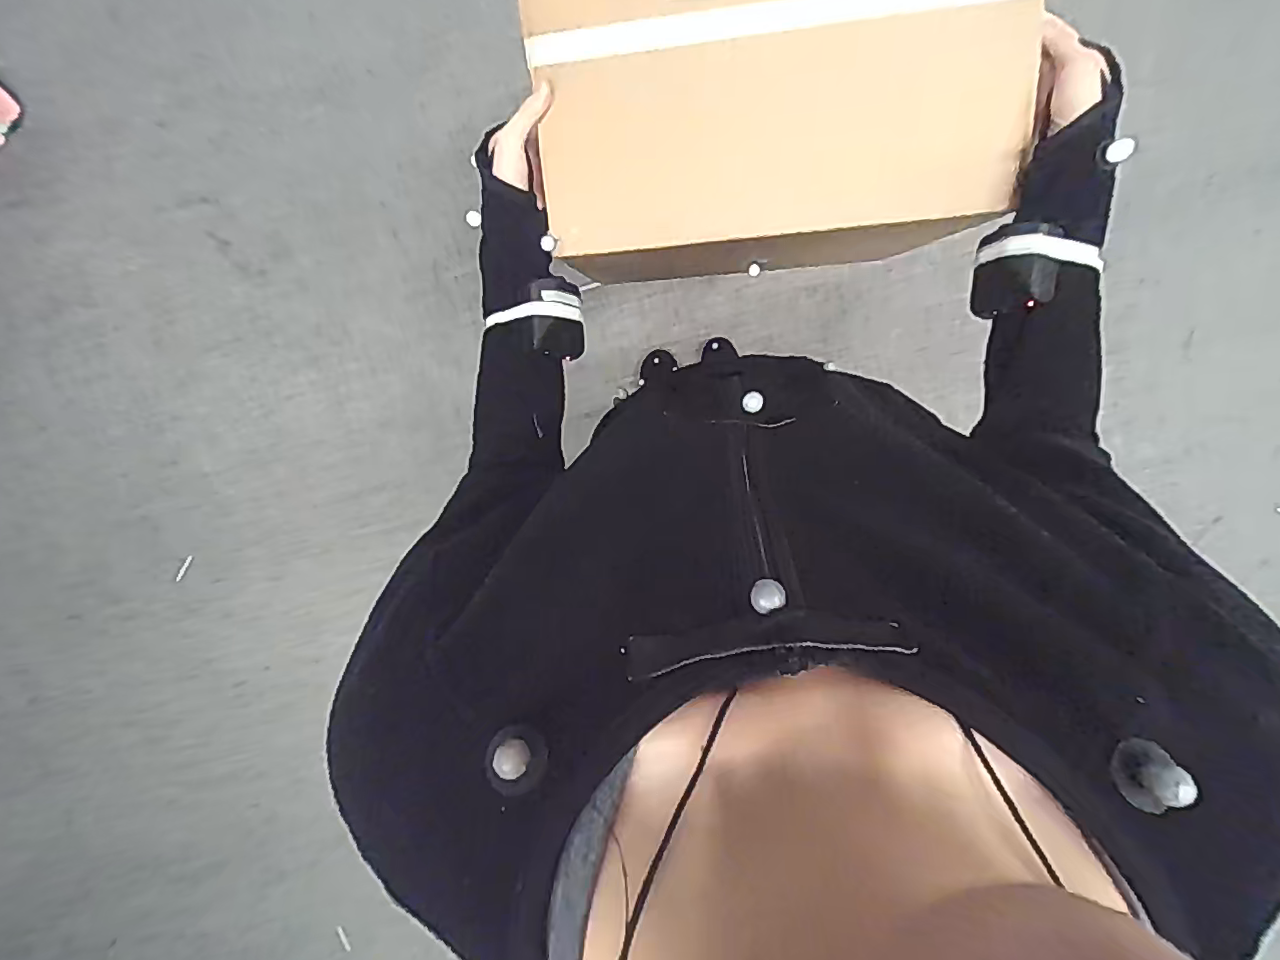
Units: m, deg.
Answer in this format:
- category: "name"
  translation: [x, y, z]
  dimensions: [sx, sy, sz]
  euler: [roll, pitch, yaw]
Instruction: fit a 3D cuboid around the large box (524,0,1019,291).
- category: "large box"
  translation: [0.119, -0.400, 0.591]
  dimensions: [0.408, 0.320, 0.320]
  euler: [-4, 103, 6]
